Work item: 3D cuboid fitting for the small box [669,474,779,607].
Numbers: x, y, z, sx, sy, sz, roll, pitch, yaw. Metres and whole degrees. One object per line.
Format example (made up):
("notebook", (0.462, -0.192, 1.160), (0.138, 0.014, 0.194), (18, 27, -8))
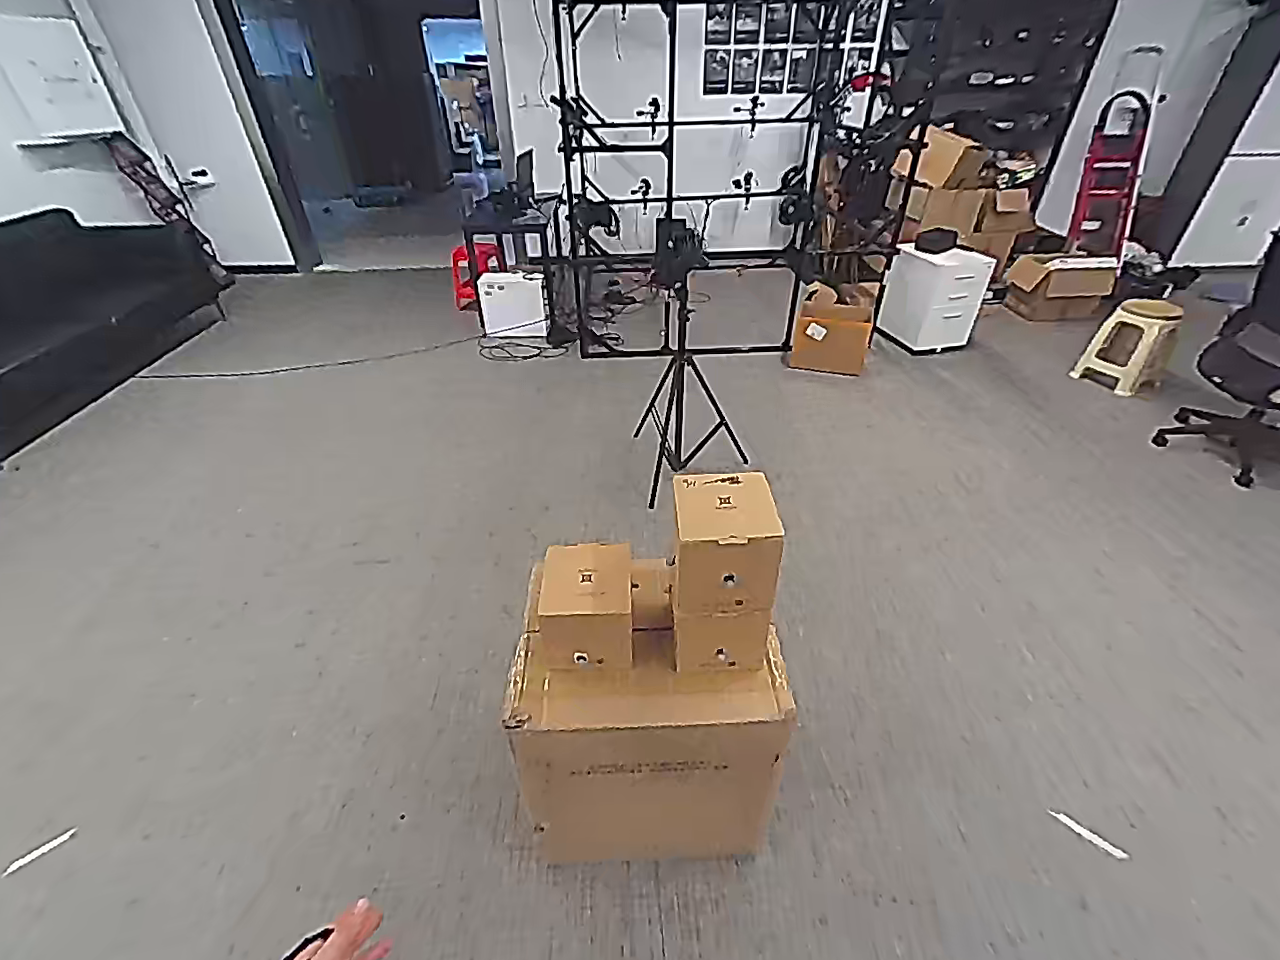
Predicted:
("small box", (0.139, 0.110, 0.950), (0.168, 0.176, 0.179), (-2, 37, 0))

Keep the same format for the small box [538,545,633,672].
("small box", (-0.099, 0.248, 1.049), (0.168, 0.176, 0.179), (-3, 37, -2))

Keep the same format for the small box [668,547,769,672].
("small box", (0.141, 0.245, 1.044), (0.168, 0.176, 0.179), (-4, 37, -1))
